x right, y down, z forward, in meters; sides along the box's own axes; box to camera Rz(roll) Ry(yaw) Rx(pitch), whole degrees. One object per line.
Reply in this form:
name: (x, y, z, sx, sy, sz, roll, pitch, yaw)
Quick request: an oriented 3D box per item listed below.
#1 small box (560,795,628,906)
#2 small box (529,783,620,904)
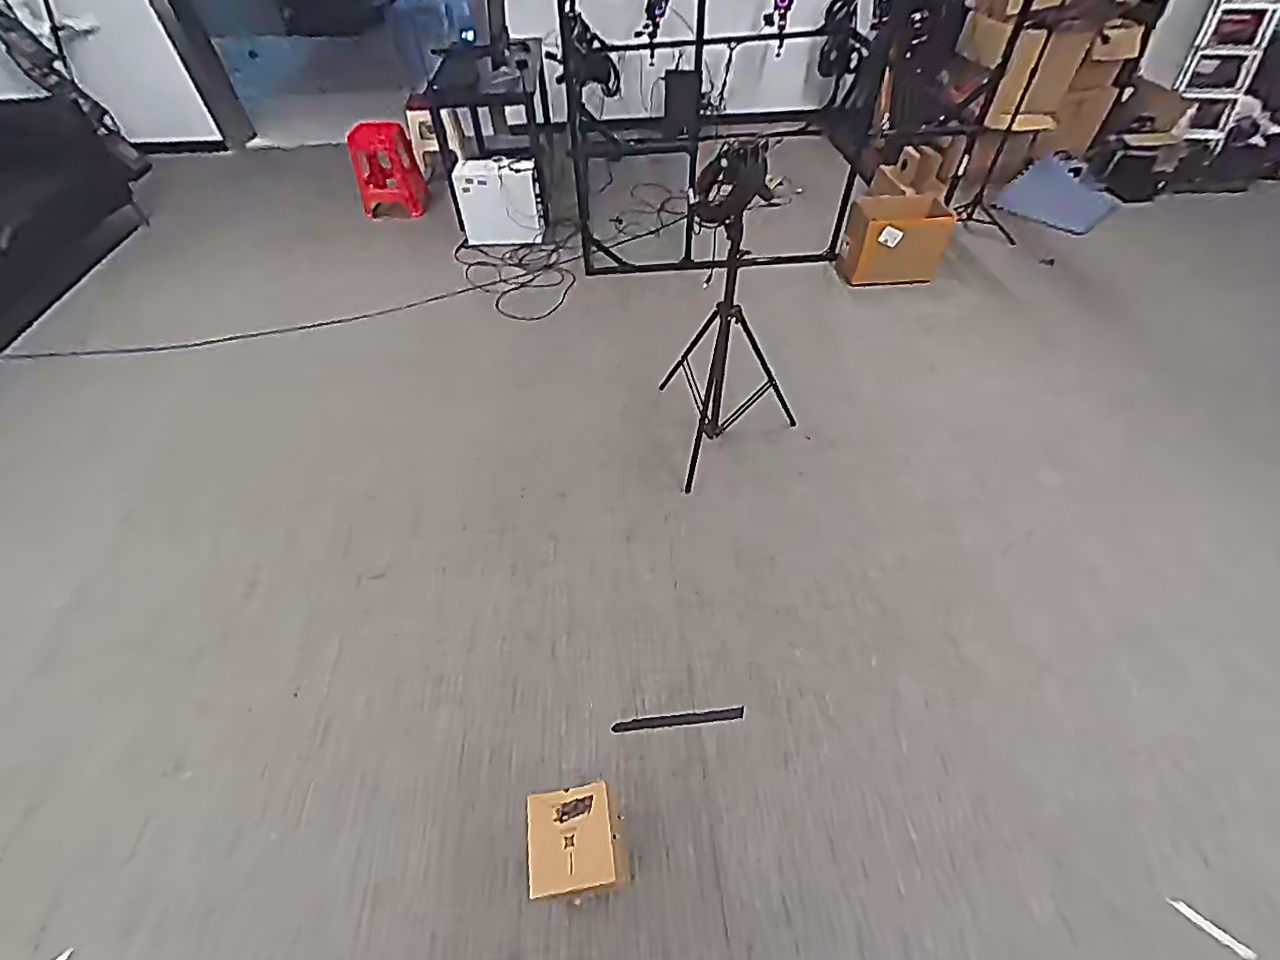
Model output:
small box: (-0.124, 0.863, 1.258, 0.168, 0.176, 0.179, -9, 50, -6)
small box: (-0.135, 0.761, 1.130, 0.168, 0.176, 0.179, -8, 50, -4)
